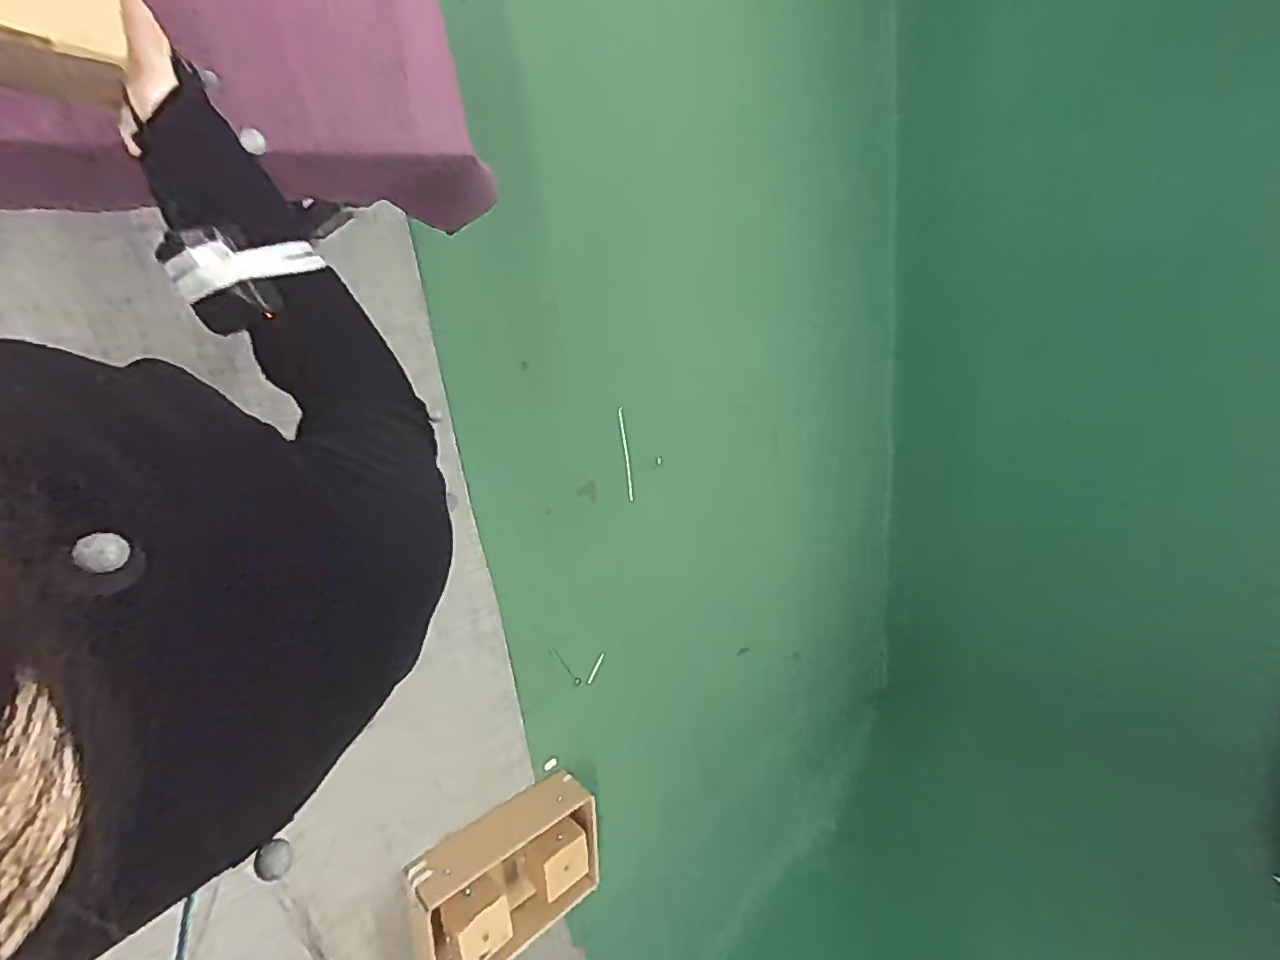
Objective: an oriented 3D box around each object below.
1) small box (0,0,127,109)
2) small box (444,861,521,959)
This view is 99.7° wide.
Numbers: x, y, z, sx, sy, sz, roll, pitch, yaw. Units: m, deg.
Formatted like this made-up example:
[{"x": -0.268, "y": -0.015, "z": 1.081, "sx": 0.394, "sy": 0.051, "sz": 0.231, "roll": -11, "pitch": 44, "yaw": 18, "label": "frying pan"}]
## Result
[{"x": -0.387, "y": -0.322, "z": 0.277, "sx": 0.168, "sy": 0.176, "sz": 0.179, "roll": -11, "pitch": 114, "yaw": -42, "label": "small box"}, {"x": -0.503, "y": 1.361, "z": 1.716, "sx": 0.168, "sy": 0.176, "sz": 0.179, "roll": -17, "pitch": 108, "yaw": -40, "label": "small box"}]
